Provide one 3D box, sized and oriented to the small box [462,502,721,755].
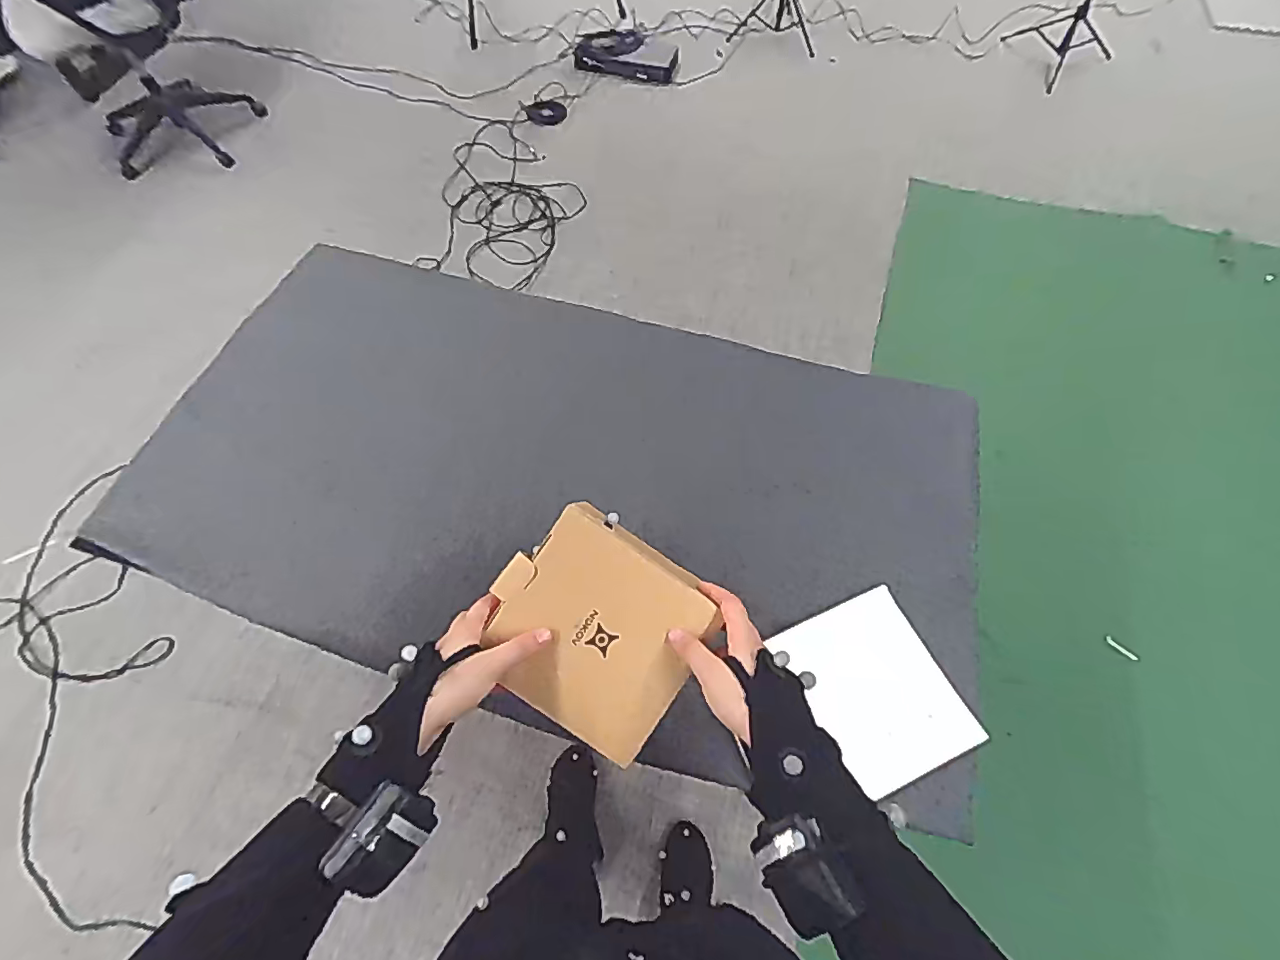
[{"bbox_3d":[-0.042,0.131,0.558,0.179,0.176,0.168,34,88,1],"label":"small box"}]
